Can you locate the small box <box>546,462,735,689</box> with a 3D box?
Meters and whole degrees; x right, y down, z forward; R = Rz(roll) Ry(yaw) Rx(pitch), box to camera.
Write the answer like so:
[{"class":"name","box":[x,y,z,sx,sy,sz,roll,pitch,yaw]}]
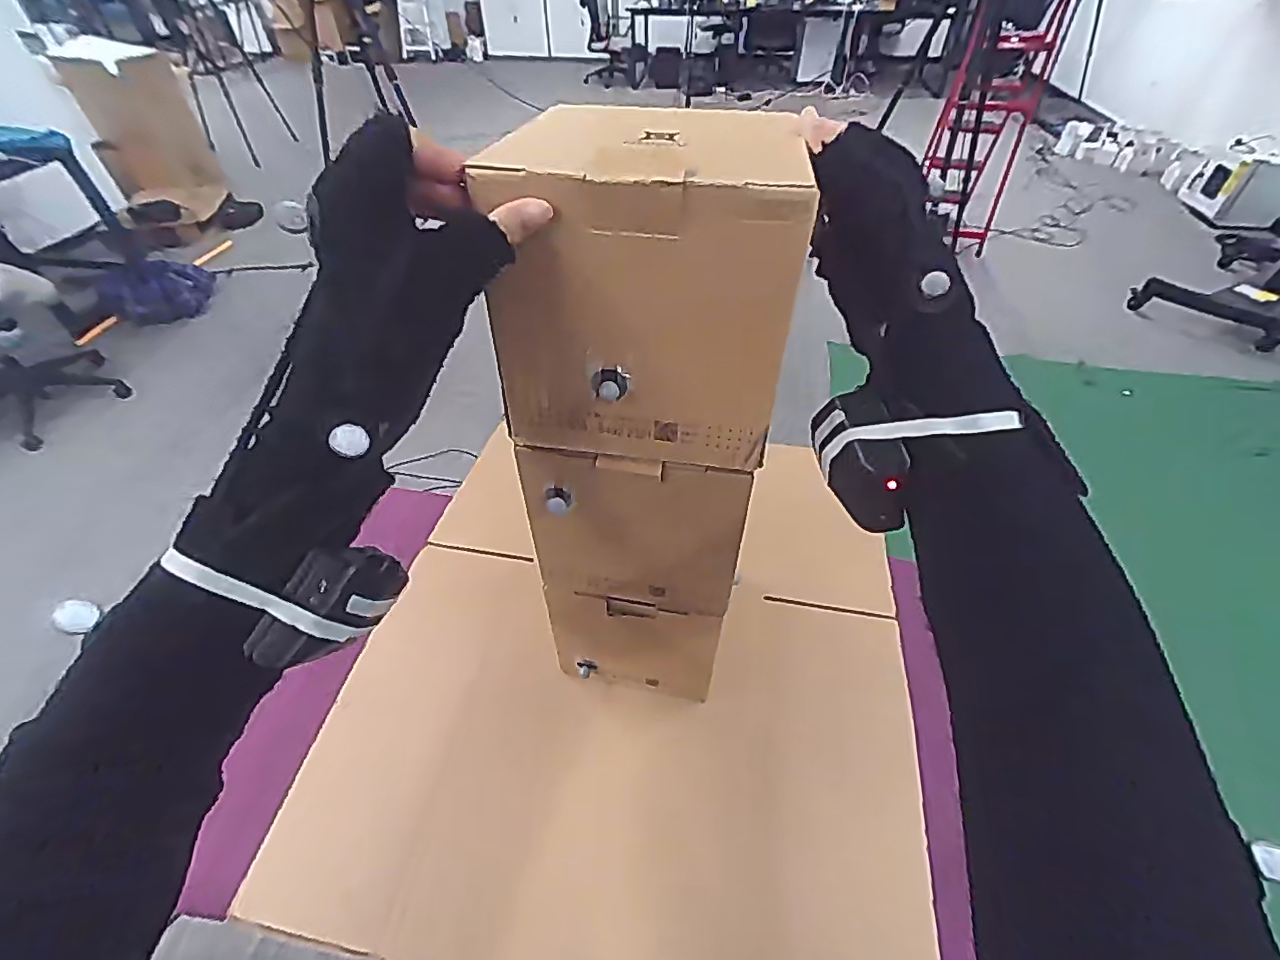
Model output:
[{"class":"small box","box":[0.009,0.106,0.588,0.168,0.176,0.179,6,47,6]}]
